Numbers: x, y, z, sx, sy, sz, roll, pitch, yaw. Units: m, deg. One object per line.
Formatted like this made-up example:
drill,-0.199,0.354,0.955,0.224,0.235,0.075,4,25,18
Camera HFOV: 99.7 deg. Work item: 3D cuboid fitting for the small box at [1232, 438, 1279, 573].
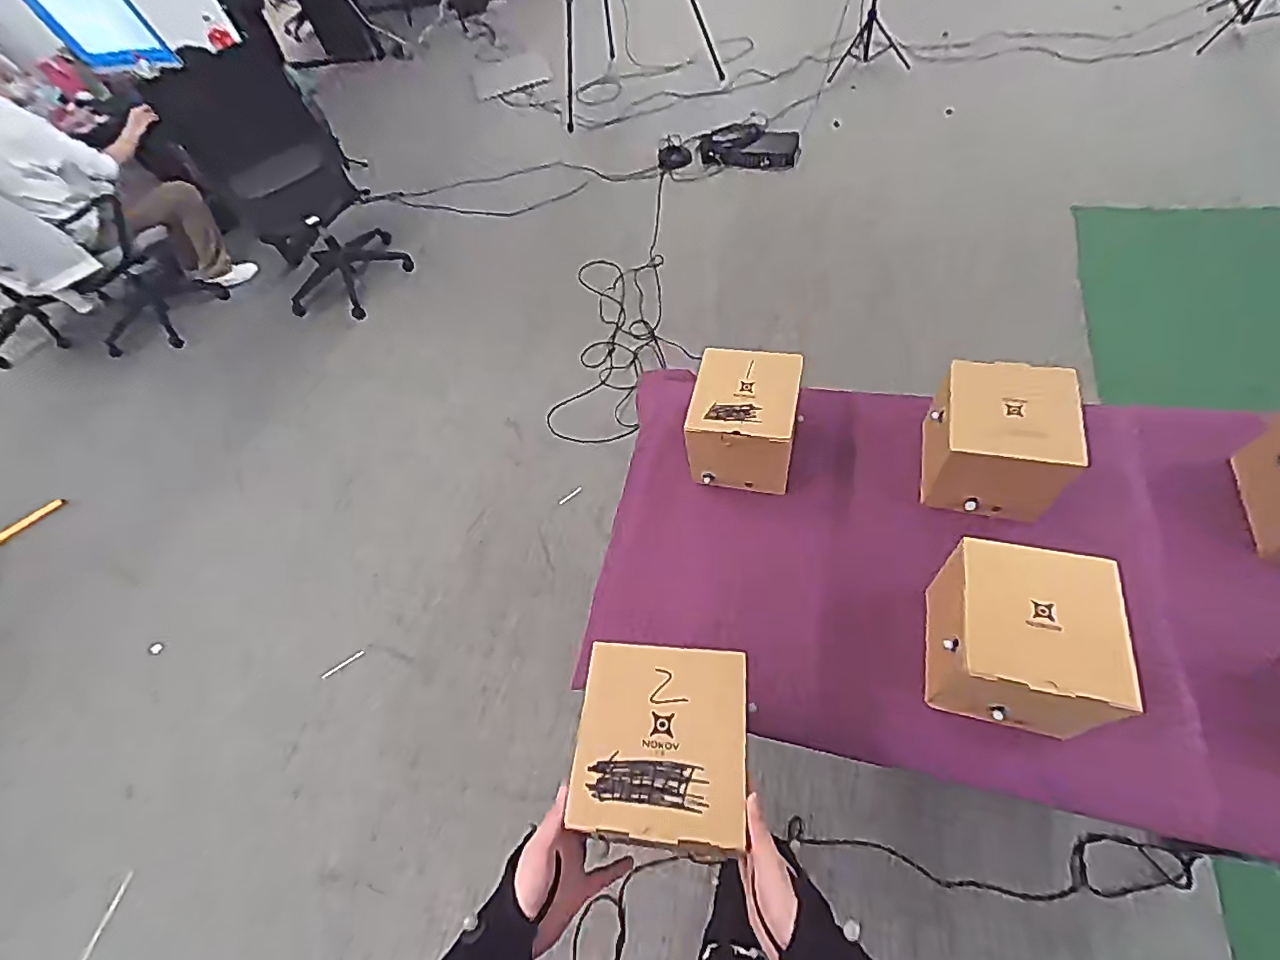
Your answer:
small box,0.958,0.025,0.717,0.168,0.176,0.179,9,61,16

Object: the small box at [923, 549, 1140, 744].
small box,0.473,0.214,0.687,0.168,0.176,0.179,9,60,15

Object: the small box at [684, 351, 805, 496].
small box,0.180,-0.092,0.921,0.168,0.176,0.179,9,61,14

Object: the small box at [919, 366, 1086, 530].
small box,0.544,-0.046,0.835,0.168,0.176,0.179,10,62,16
